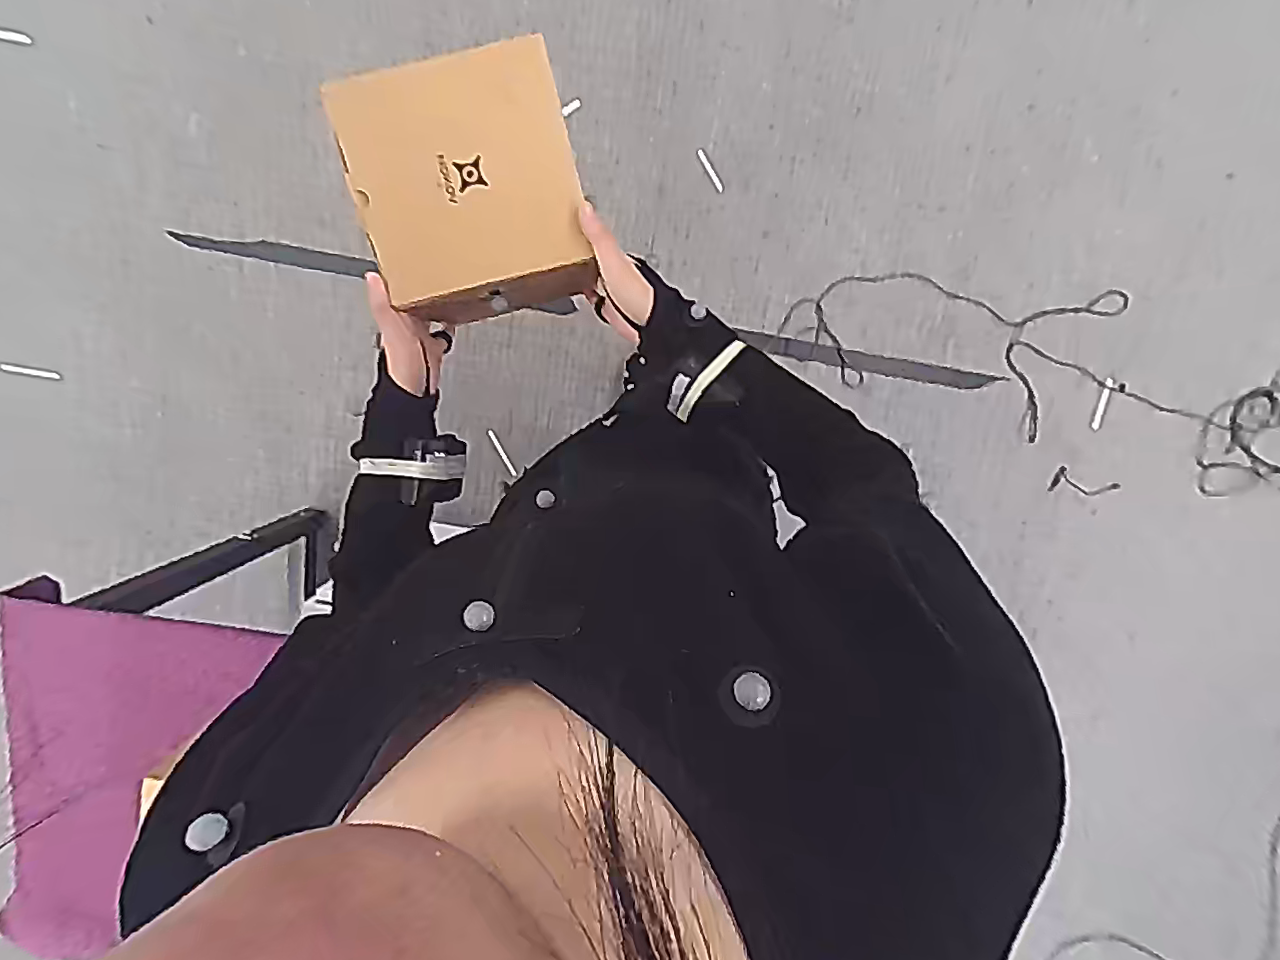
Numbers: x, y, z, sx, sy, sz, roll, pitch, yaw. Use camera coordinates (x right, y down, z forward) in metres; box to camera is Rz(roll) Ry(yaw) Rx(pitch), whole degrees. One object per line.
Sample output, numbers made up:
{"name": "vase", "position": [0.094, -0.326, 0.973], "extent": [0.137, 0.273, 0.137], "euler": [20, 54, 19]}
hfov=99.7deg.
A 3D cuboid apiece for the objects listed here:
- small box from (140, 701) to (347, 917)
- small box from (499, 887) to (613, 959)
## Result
{"name": "small box", "position": [-0.534, 0.444, 0.750], "extent": [0.168, 0.176, 0.179], "euler": [12, 101, -3]}
{"name": "small box", "position": [-0.137, 0.771, 0.811], "extent": [0.168, 0.176, 0.179], "euler": [14, 98, -4]}
